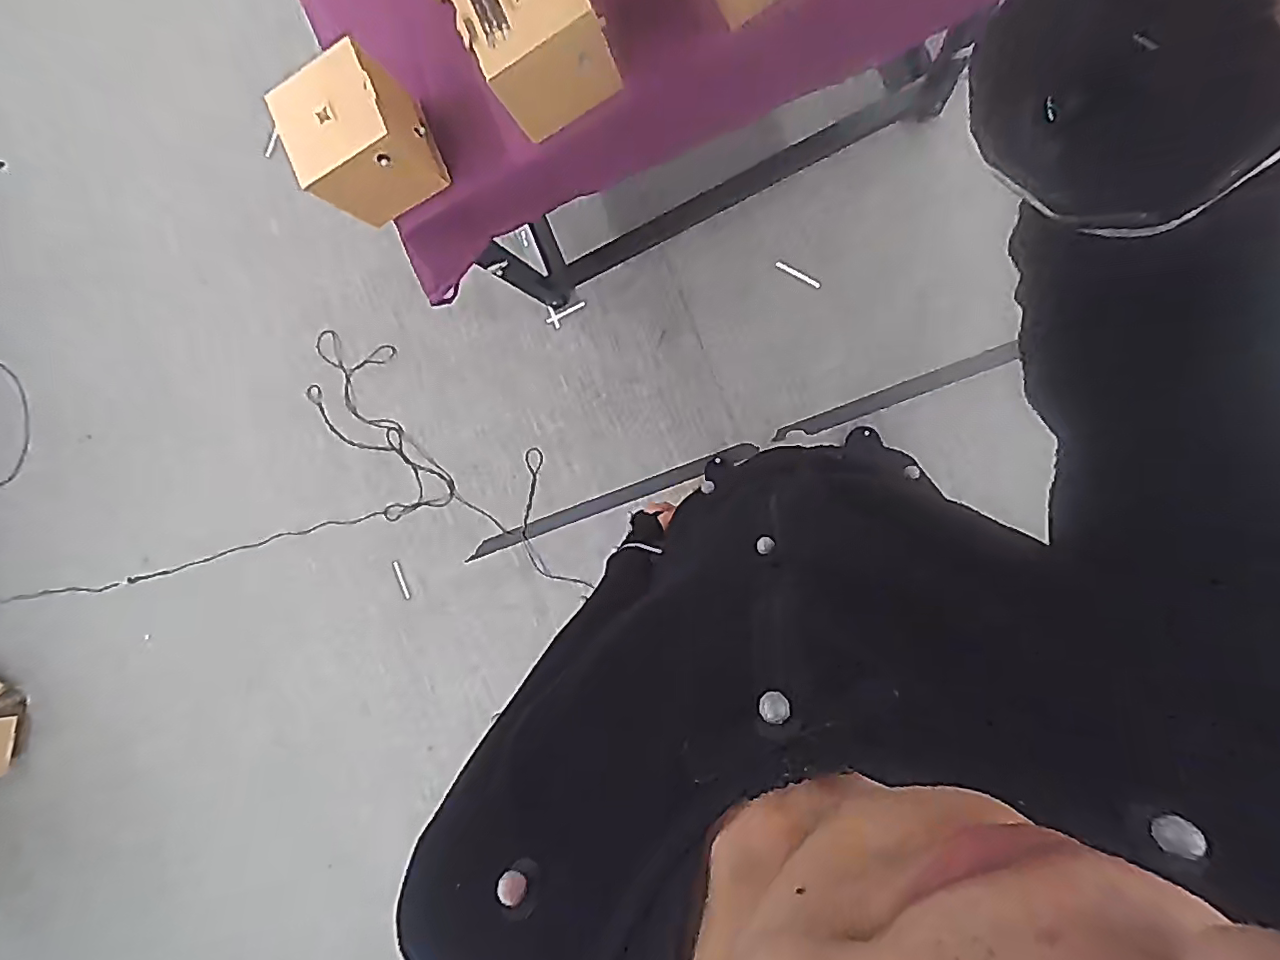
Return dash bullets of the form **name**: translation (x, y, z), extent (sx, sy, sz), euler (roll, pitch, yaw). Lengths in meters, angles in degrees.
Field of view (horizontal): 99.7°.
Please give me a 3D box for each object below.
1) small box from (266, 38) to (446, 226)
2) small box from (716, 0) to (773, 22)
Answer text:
- **small box**: translation (-0.465, -0.563, 0.906), extent (0.179, 0.176, 0.168), euler (-23, 88, 13)
- **small box**: translation (0.154, -0.801, 0.739), extent (0.168, 0.176, 0.179), euler (-26, 89, 15)
